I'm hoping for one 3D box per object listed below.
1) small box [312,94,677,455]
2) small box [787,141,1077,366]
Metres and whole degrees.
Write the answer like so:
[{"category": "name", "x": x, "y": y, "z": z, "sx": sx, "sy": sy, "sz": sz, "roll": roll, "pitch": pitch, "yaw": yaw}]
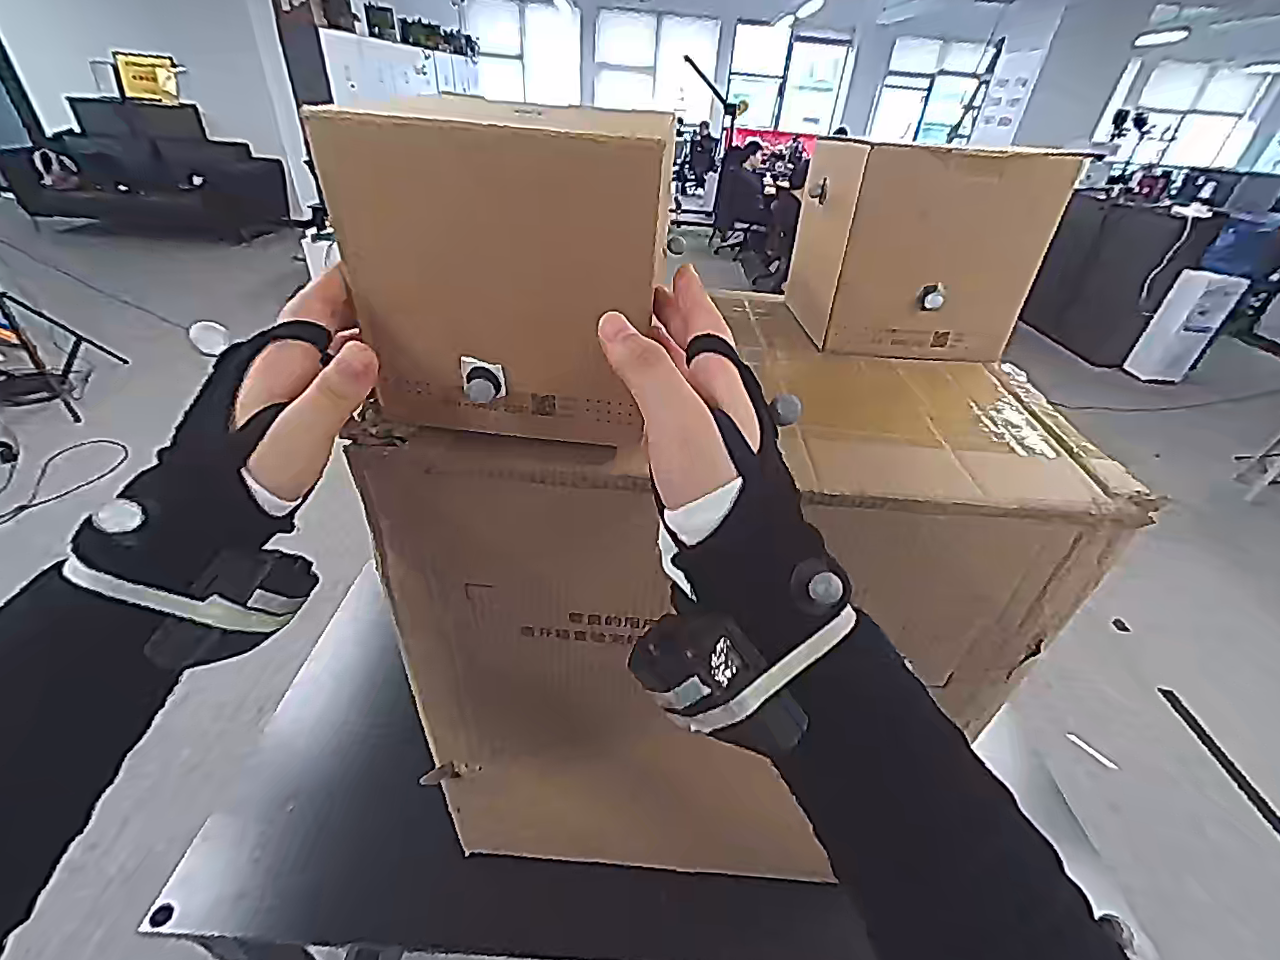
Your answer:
[{"category": "small box", "x": -0.066, "y": -0.138, "z": 0.351, "sx": 0.168, "sy": 0.176, "sz": 0.179, "roll": 4, "pitch": 38, "yaw": 0}, {"category": "small box", "x": 0.252, "y": -0.224, "z": 0.526, "sx": 0.168, "sy": 0.176, "sz": 0.179, "roll": 3, "pitch": 33, "yaw": 0}]
